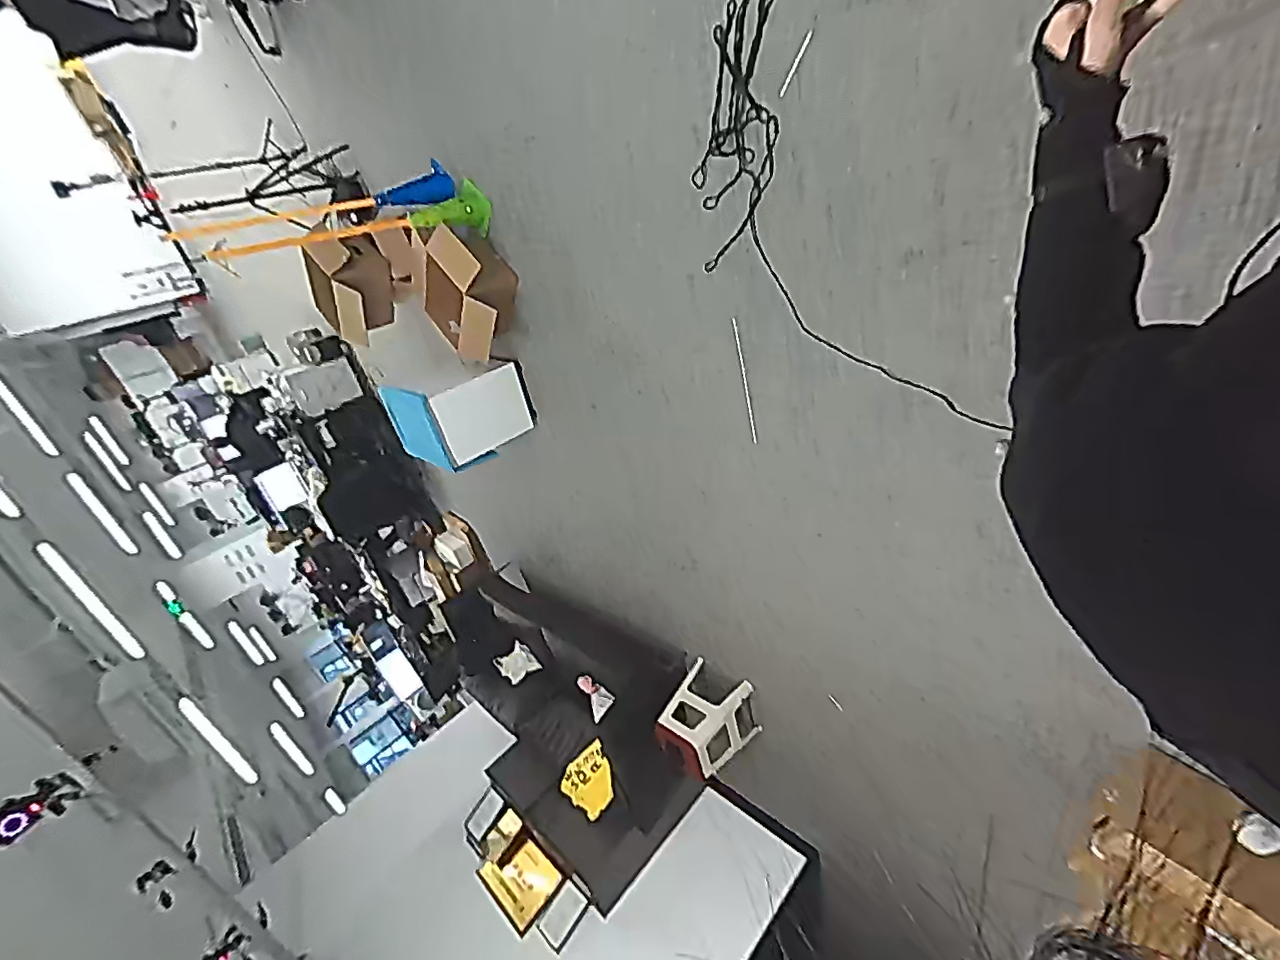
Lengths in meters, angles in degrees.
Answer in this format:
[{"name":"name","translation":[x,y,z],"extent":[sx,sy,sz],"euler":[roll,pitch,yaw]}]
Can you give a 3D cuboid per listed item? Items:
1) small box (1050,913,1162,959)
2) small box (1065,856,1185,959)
[{"name":"small box","translation":[1.136,1.202,1.317],"extent":[0.179,0.176,0.168],"euler":[32,142,30]},{"name":"small box","translation":[1.255,1.127,1.400],"extent":[0.168,0.176,0.179],"euler":[32,141,31]}]
